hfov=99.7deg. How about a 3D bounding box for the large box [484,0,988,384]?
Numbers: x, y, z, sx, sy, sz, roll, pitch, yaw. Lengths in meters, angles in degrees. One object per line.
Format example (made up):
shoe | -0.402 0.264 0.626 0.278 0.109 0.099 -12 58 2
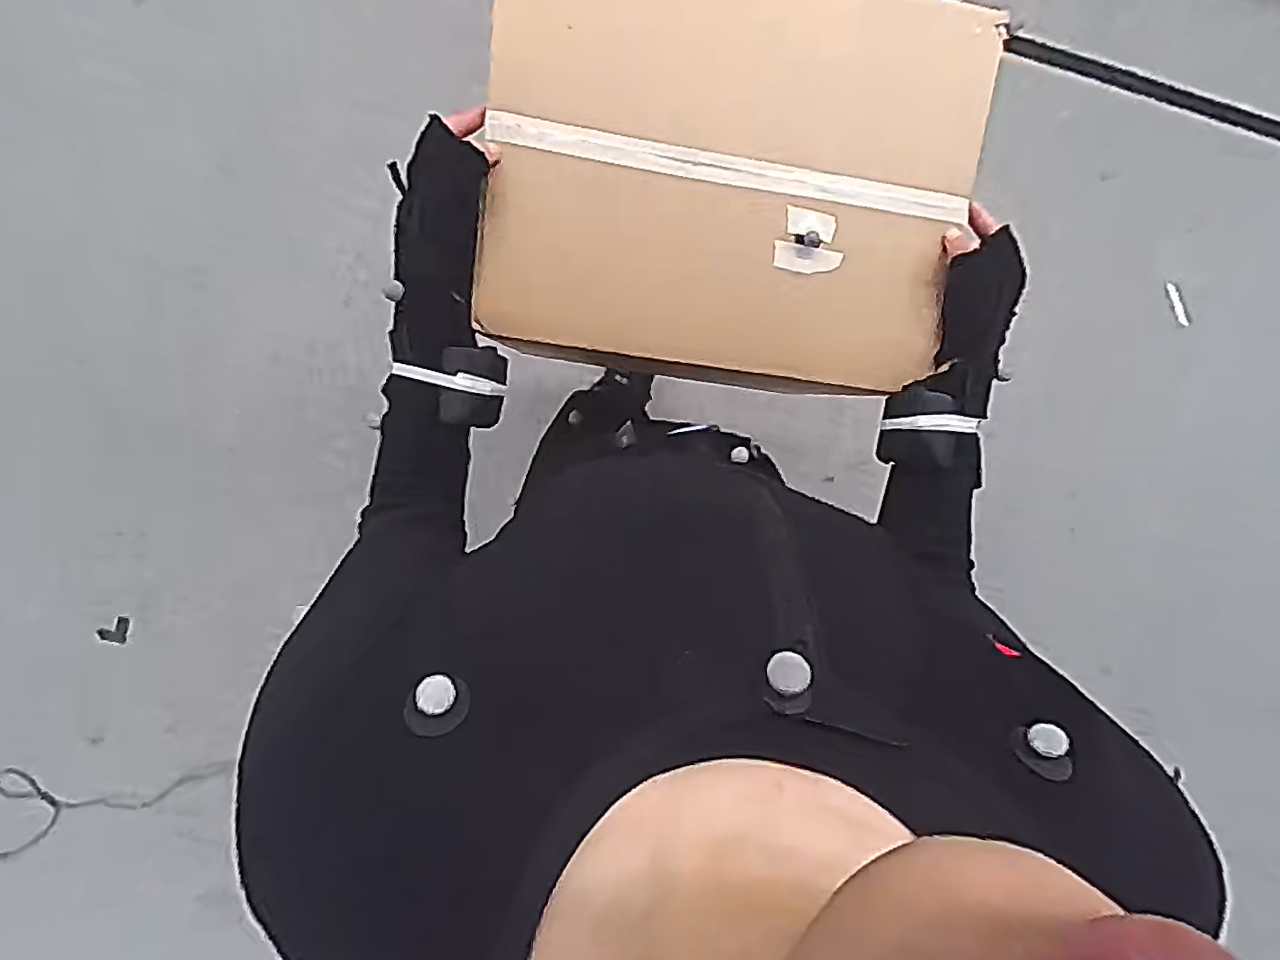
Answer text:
large box | 0.064 -0.286 0.600 0.408 0.320 0.320 7 100 -8
